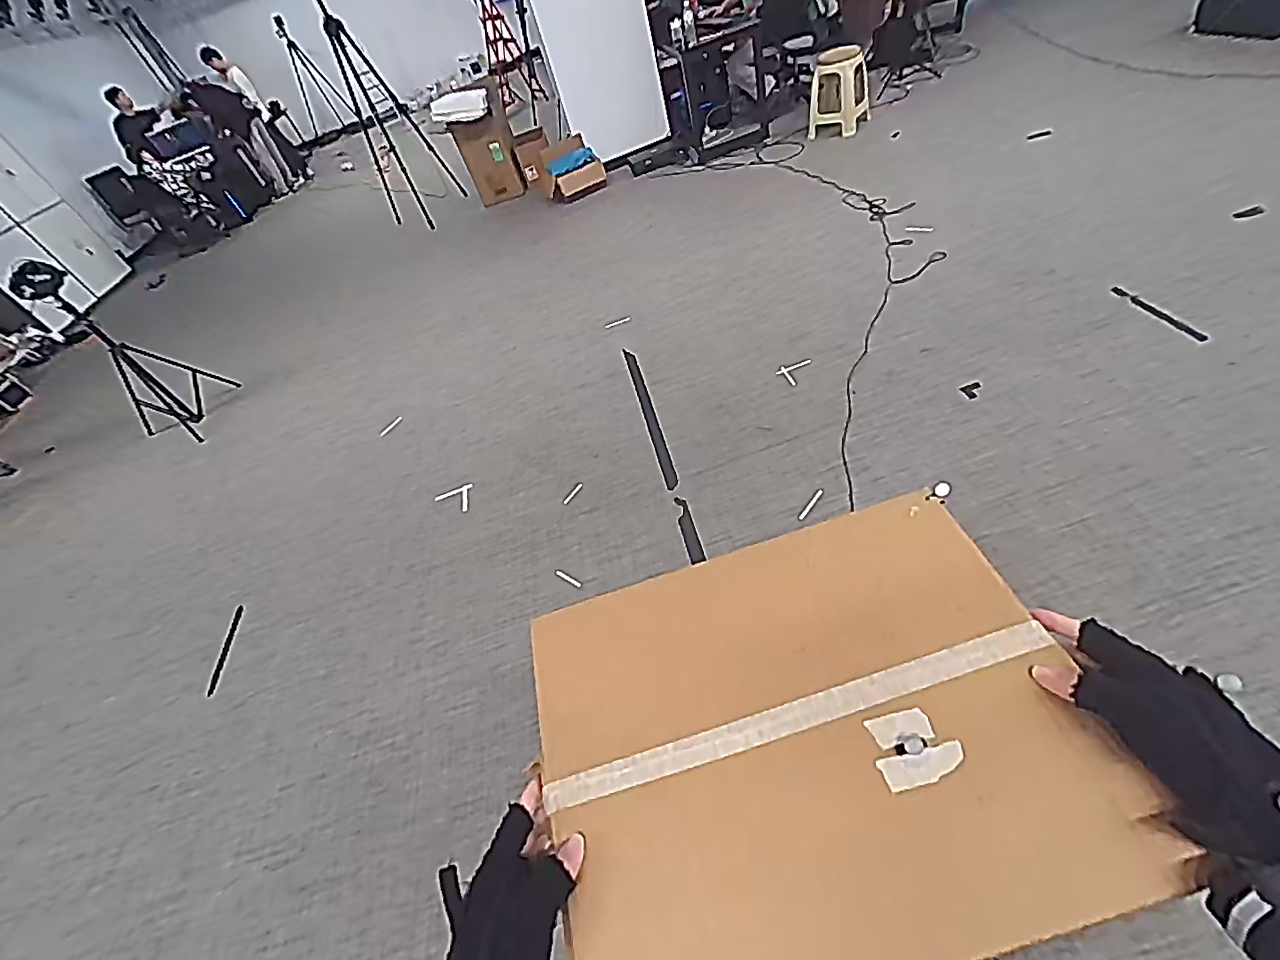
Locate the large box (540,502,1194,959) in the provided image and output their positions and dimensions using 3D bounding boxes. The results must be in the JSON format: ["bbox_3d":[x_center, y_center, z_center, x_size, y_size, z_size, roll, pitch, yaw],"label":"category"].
[{"bbox_3d":[0.155,0.287,0.543,0.408,0.320,0.320,-19,49,1],"label":"large box"}]
